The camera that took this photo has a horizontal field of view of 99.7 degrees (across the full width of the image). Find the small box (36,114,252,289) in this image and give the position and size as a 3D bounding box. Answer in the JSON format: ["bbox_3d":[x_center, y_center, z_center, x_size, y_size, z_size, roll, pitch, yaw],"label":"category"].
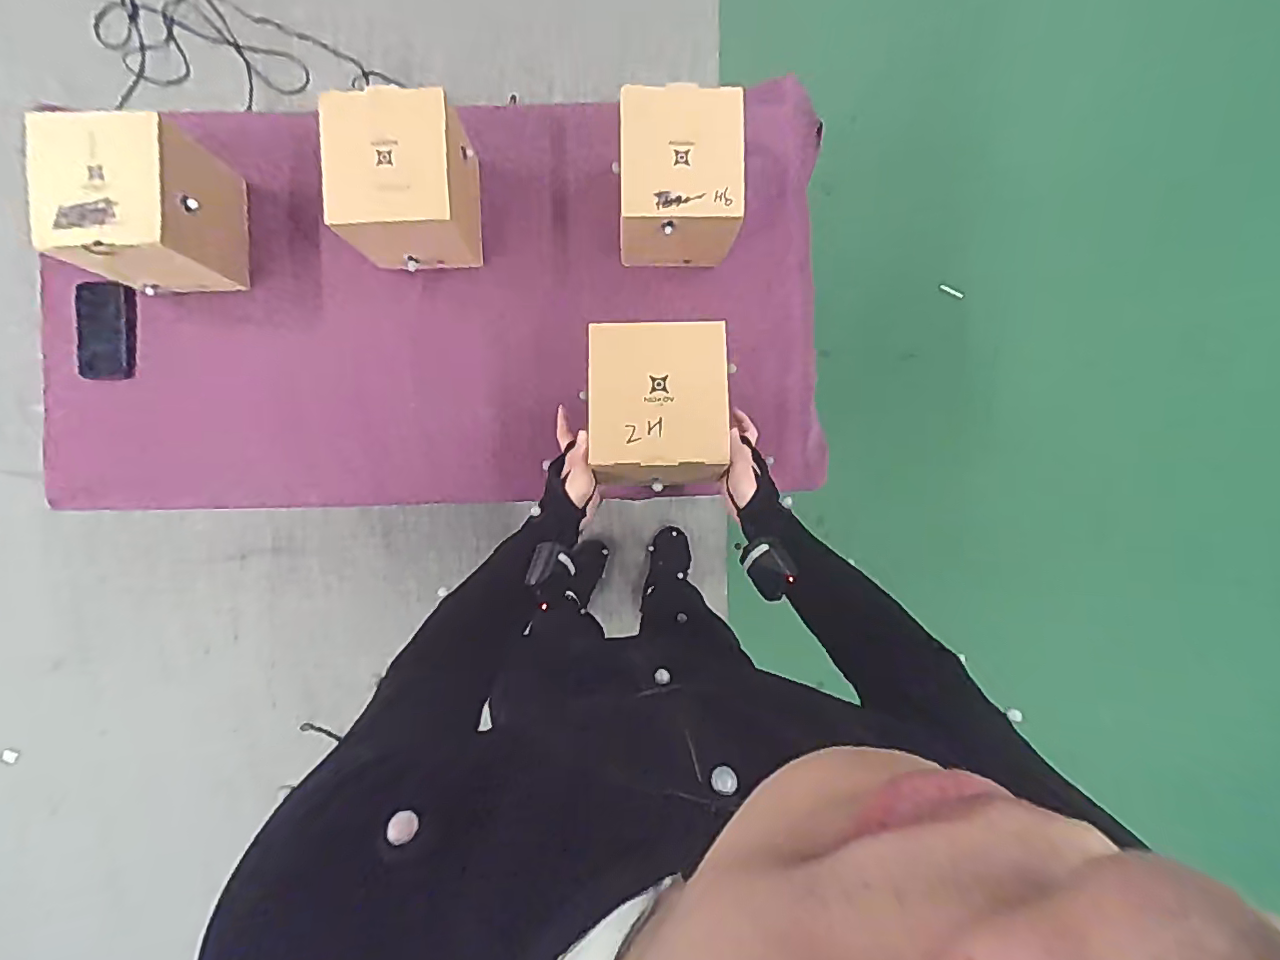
[{"bbox_3d":[-0.697,-0.386,0.781,0.168,0.176,0.179,-2,90,-1],"label":"small box"}]

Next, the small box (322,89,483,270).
[{"bbox_3d":[-0.333,-0.425,0.788,0.168,0.176,0.179,-2,91,0],"label":"small box"}]

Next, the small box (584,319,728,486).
[{"bbox_3d":[0.021,-0.092,0.703,0.168,0.176,0.179,0,82,2],"label":"small box"}]

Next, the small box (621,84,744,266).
[{"bbox_3d":[0.055,-0.435,0.792,0.168,0.176,0.179,0,90,0],"label":"small box"}]
